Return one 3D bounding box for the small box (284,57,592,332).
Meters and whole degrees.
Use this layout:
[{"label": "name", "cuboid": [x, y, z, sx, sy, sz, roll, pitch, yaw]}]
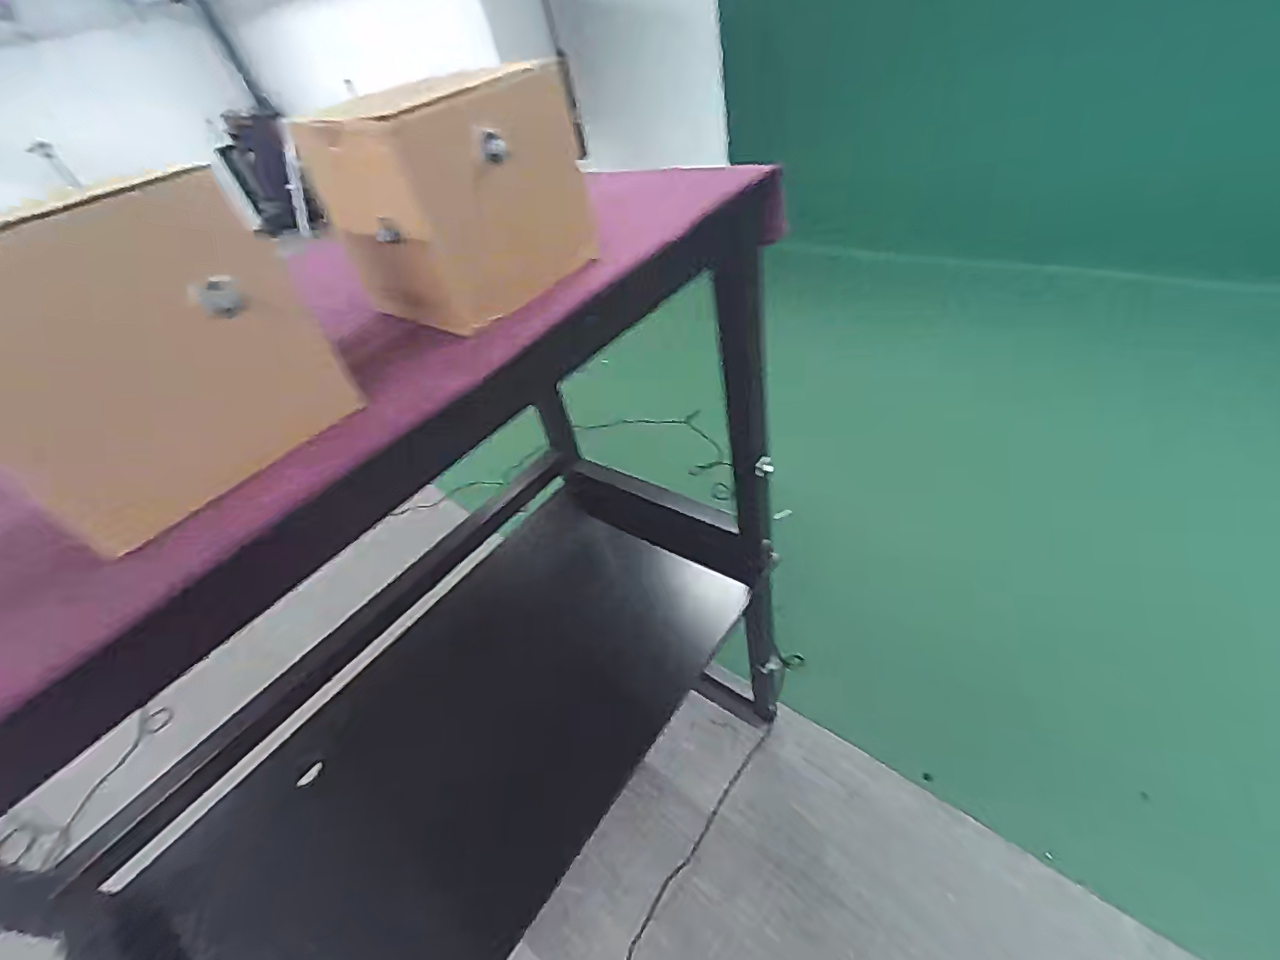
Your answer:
[{"label": "small box", "cuboid": [-0.168, -0.258, 0.497, 0.168, 0.176, 0.179, 25, 55, 34]}]
